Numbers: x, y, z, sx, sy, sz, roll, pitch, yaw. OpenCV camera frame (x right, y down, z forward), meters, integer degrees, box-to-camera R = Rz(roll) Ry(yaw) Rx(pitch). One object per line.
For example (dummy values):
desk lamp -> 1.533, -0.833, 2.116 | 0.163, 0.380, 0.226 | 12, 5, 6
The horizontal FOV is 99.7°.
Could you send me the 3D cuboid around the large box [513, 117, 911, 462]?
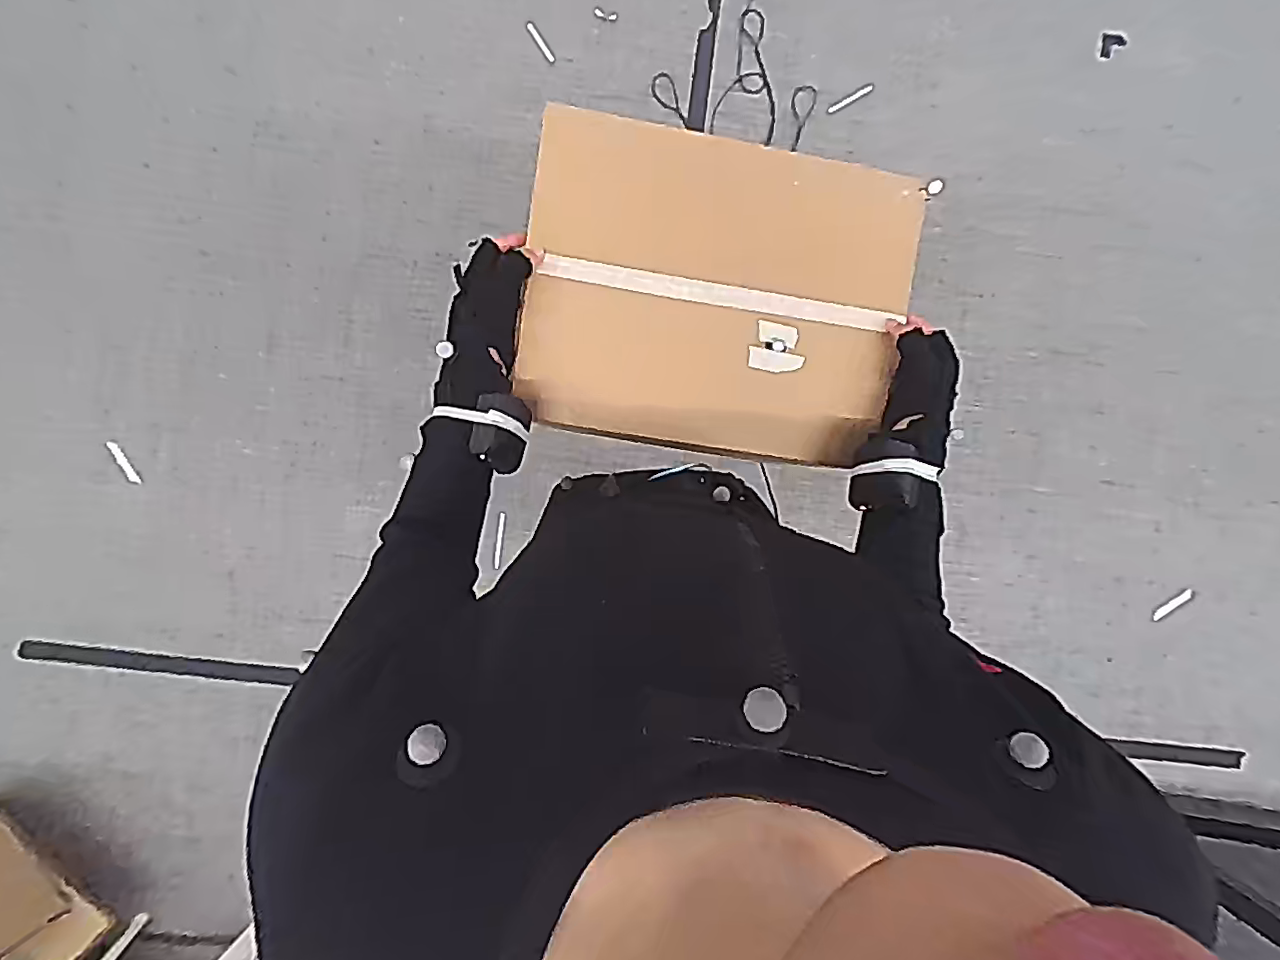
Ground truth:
large box -> 0.066, -0.206, 0.725 | 0.408, 0.320, 0.320 | 9, 94, -6
